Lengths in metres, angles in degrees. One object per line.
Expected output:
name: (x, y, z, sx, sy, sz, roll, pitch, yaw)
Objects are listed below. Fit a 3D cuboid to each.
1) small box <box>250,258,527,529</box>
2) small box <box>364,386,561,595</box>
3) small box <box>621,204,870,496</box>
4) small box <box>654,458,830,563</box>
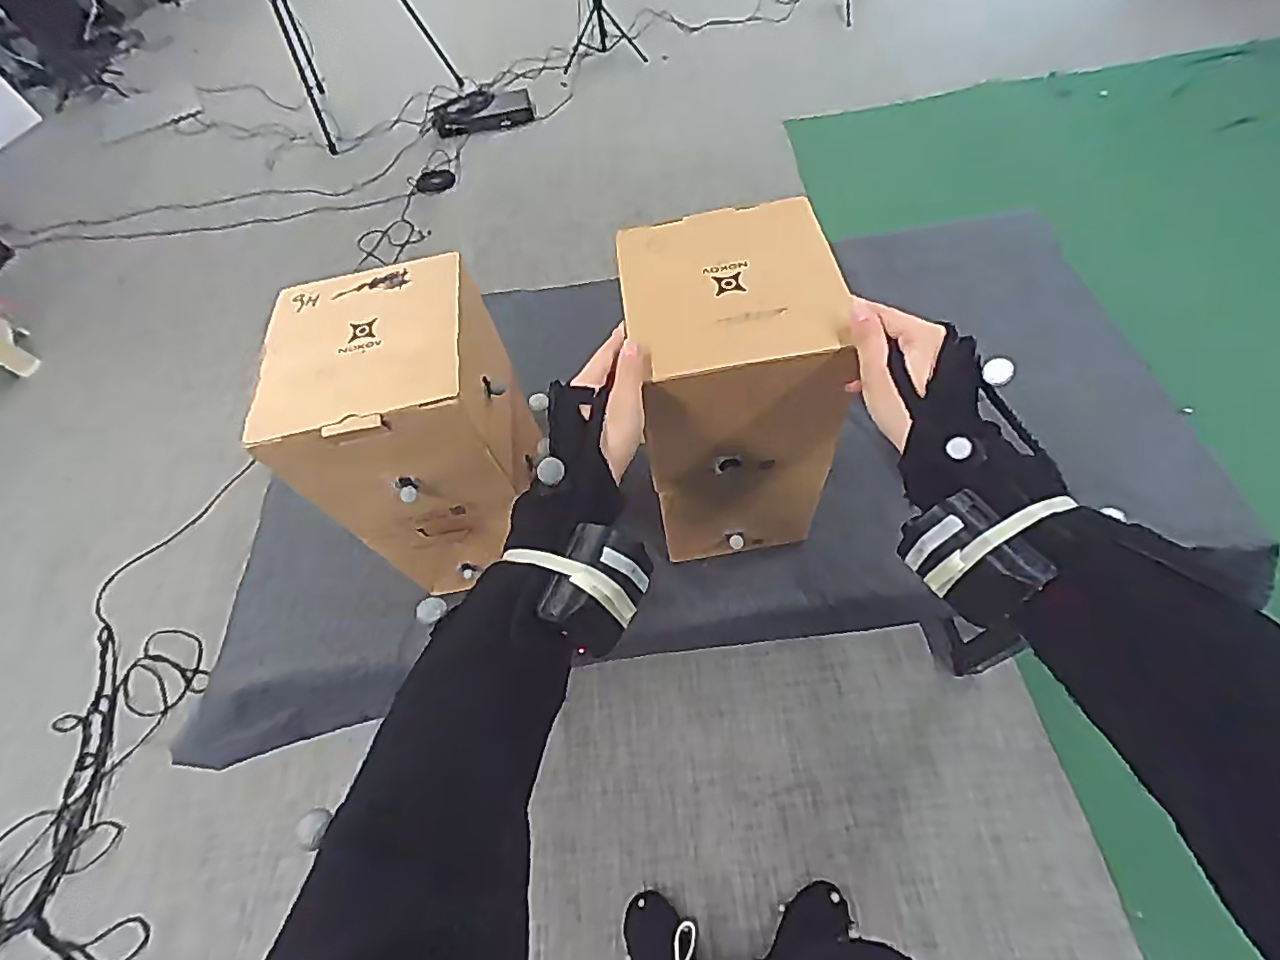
small box: (-0.211, -0.068, 0.505, 0.168, 0.176, 0.179, -12, 59, 1)
small box: (-0.196, 0.017, 0.645, 0.168, 0.176, 0.179, -11, 58, 1)
small box: (0.081, -0.109, 0.486, 0.168, 0.176, 0.179, -10, 59, 4)
small box: (0.100, -0.025, 0.624, 0.168, 0.176, 0.179, -10, 58, 3)
